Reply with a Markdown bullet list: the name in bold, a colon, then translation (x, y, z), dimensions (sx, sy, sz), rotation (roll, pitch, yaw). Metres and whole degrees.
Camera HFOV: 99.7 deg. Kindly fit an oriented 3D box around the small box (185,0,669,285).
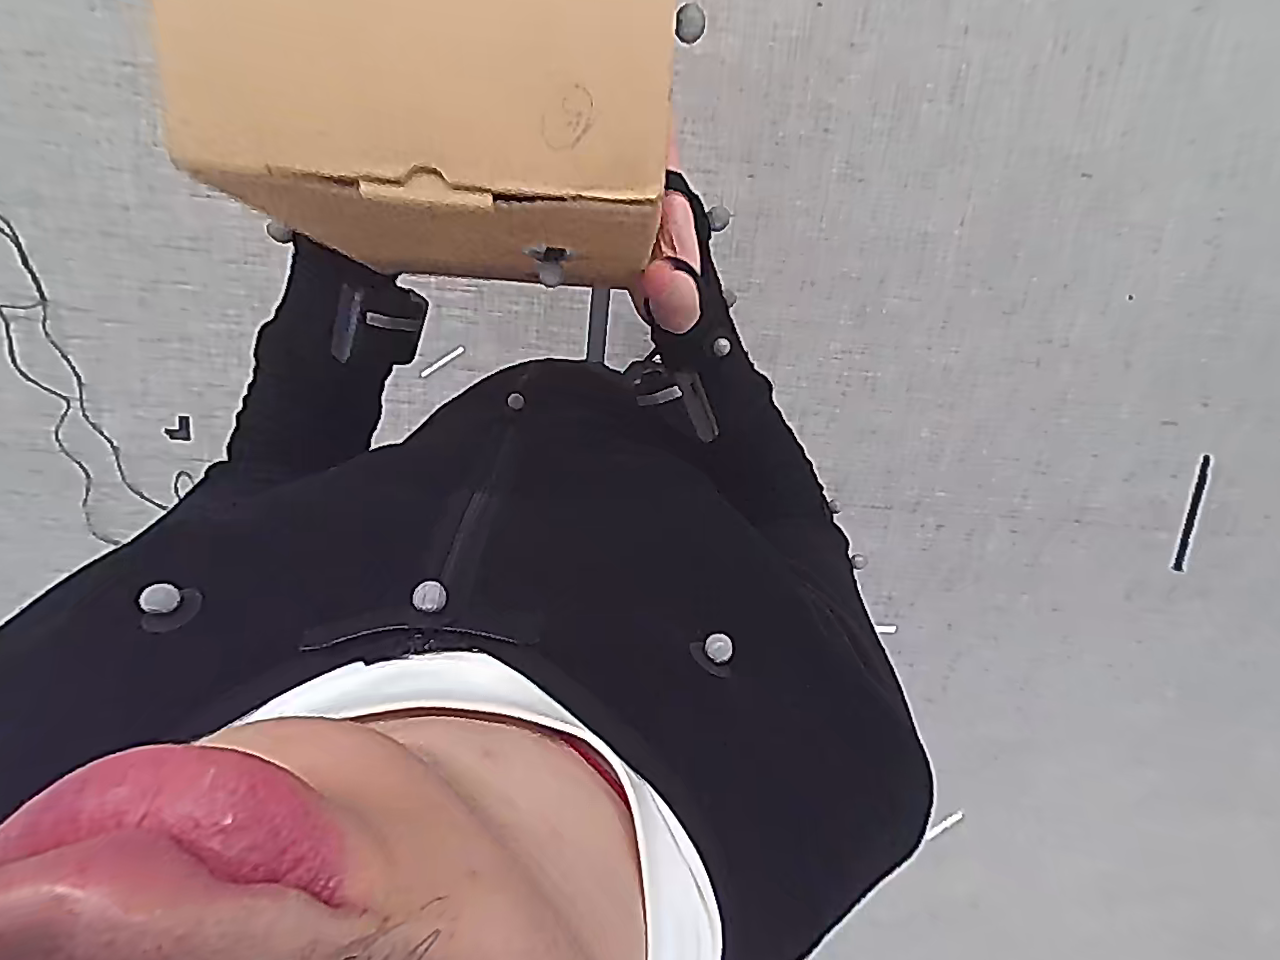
- **small box**: translation (-0.074, -0.199, 0.261), dimensions (0.168, 0.176, 0.179), rotation (1, 100, -5)
